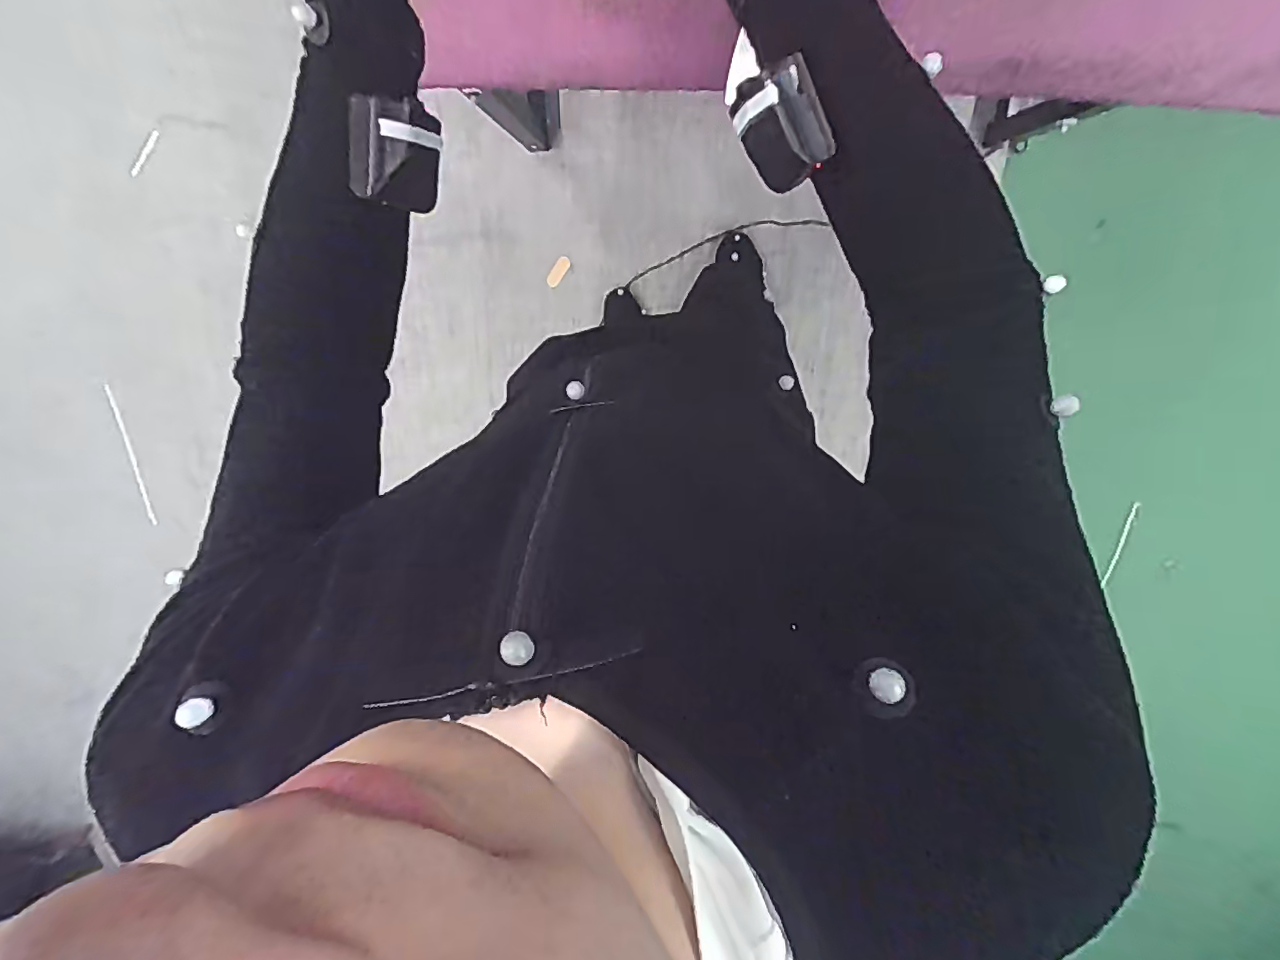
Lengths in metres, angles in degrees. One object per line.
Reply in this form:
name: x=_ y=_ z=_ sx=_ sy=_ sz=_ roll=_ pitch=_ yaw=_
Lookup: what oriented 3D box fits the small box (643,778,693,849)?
small box: x=0.108 y=1.299 z=2.114 sx=0.179 sy=0.176 sz=0.168 roll=5 pitch=113 yaw=0
